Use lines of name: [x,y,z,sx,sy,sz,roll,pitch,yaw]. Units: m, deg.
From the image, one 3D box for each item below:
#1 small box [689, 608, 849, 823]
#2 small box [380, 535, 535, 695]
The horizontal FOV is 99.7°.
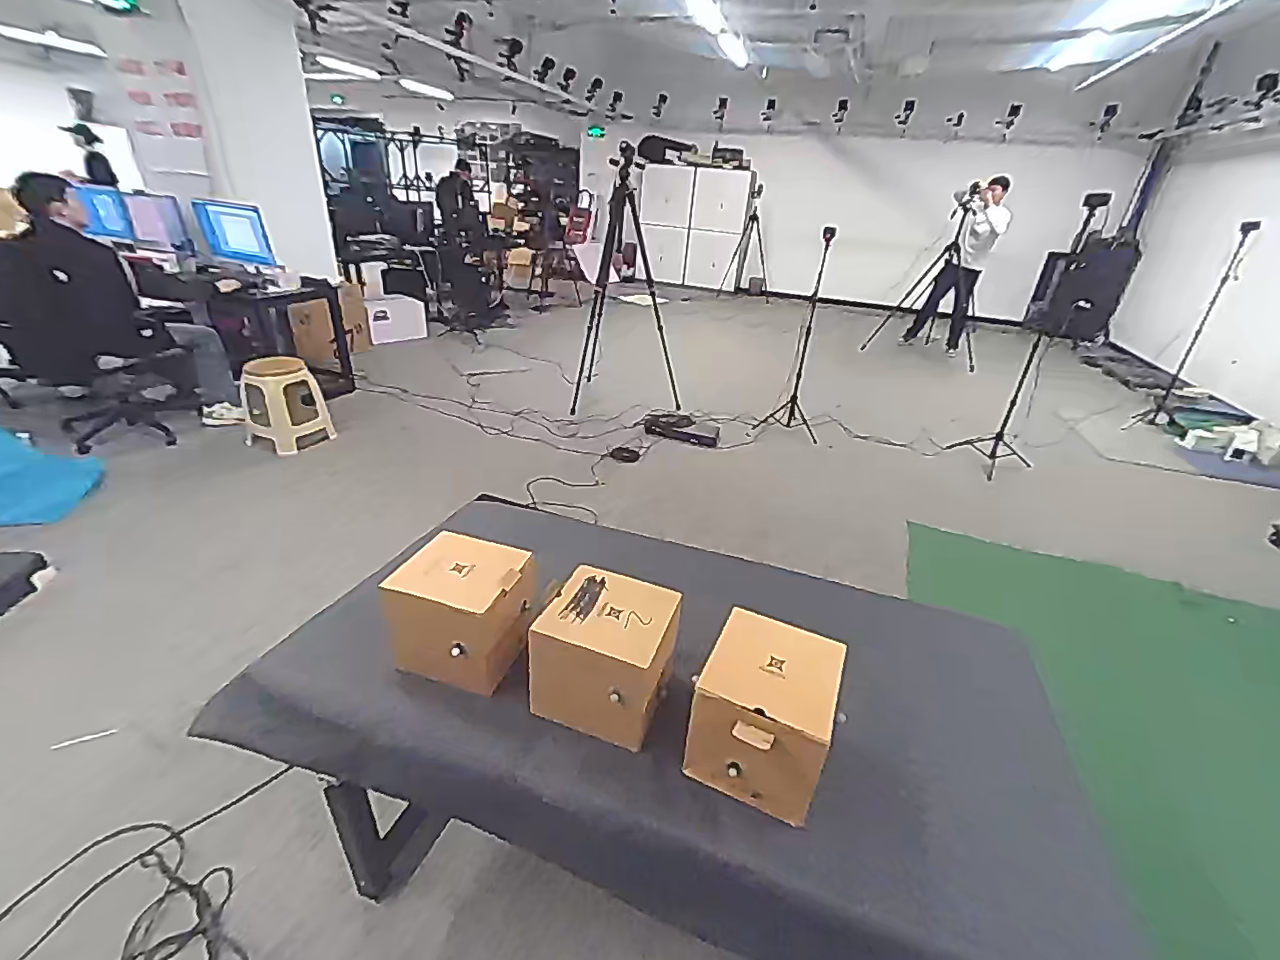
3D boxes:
small box: [0.176,0.317,0.747,0.168,0.176,0.179,16,30,20]
small box: [-0.281,0.216,0.874,0.179,0.176,0.168,10,27,12]
